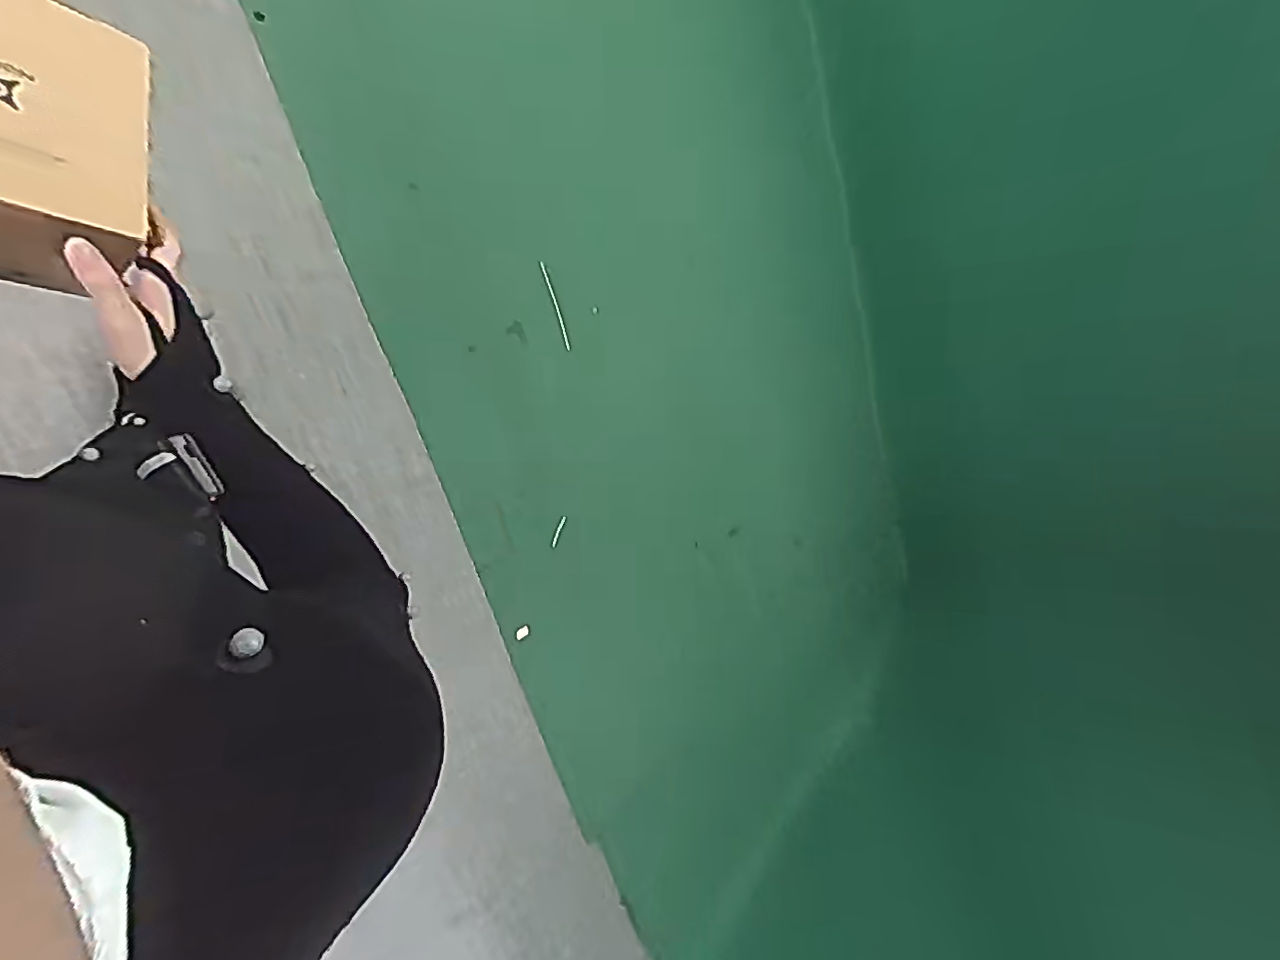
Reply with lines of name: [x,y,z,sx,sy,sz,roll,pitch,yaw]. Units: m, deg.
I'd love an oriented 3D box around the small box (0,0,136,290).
small box: [-0.520,-0.276,0.417,0.168,0.176,0.179,2,82,-53]
